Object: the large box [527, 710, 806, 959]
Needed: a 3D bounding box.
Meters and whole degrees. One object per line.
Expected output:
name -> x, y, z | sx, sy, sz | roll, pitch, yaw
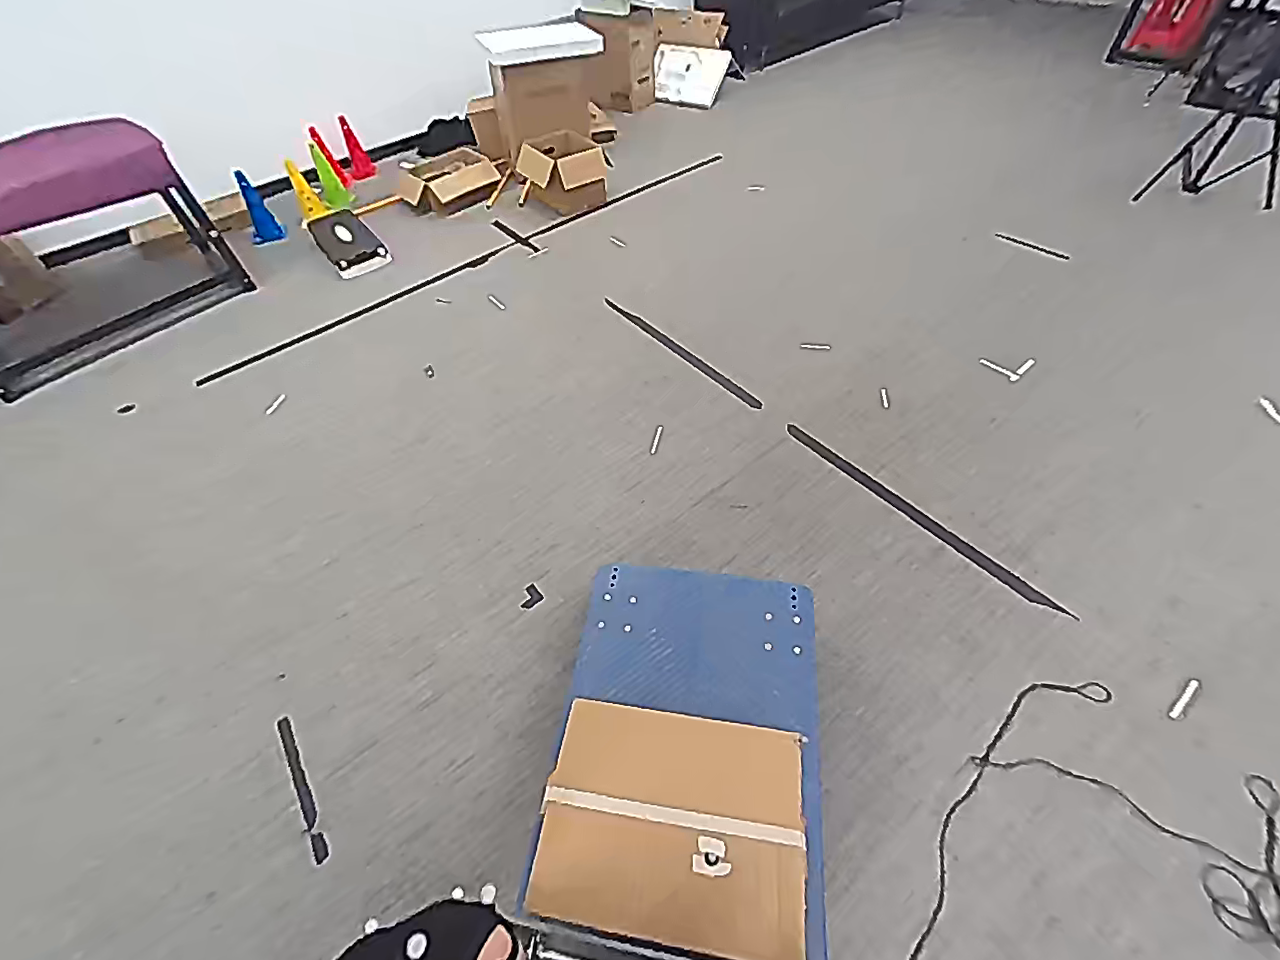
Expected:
large box -> 0.056, 0.642, 0.963 | 0.408, 0.320, 0.320 | 6, 51, 8
